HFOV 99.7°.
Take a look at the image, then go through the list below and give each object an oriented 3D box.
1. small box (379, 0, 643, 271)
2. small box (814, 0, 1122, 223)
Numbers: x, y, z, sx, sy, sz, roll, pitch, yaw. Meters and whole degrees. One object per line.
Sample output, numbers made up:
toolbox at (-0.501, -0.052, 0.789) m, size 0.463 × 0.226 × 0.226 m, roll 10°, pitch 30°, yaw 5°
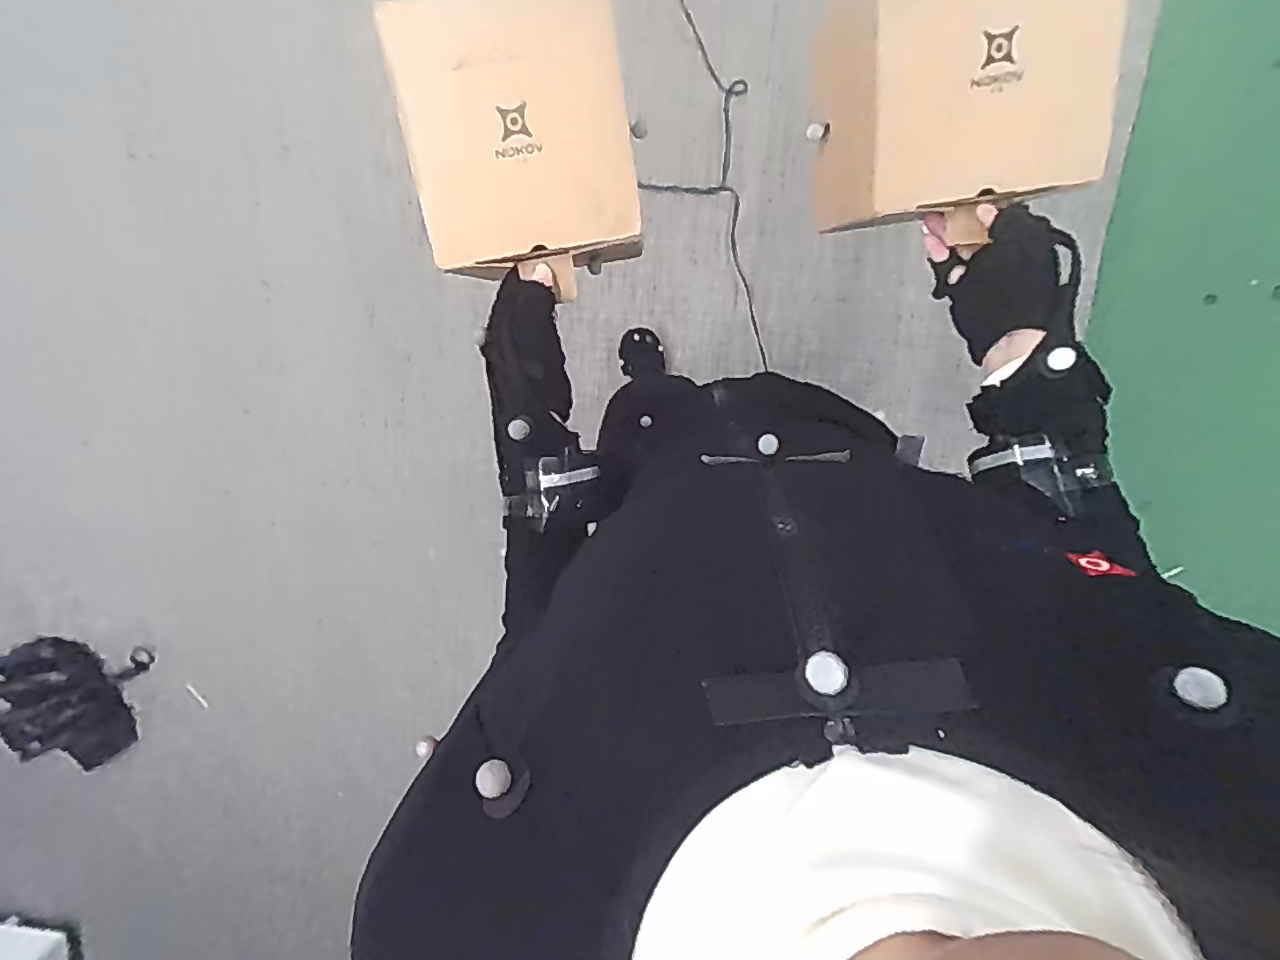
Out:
small box at (-0.089, -0.287, 0.473) m, size 0.168 × 0.176 × 0.179 m, roll -9°, pitch 107°, yaw 1°
small box at (0.253, -0.324, 0.460) m, size 0.168 × 0.176 × 0.179 m, roll -6°, pitch 110°, yaw 4°
